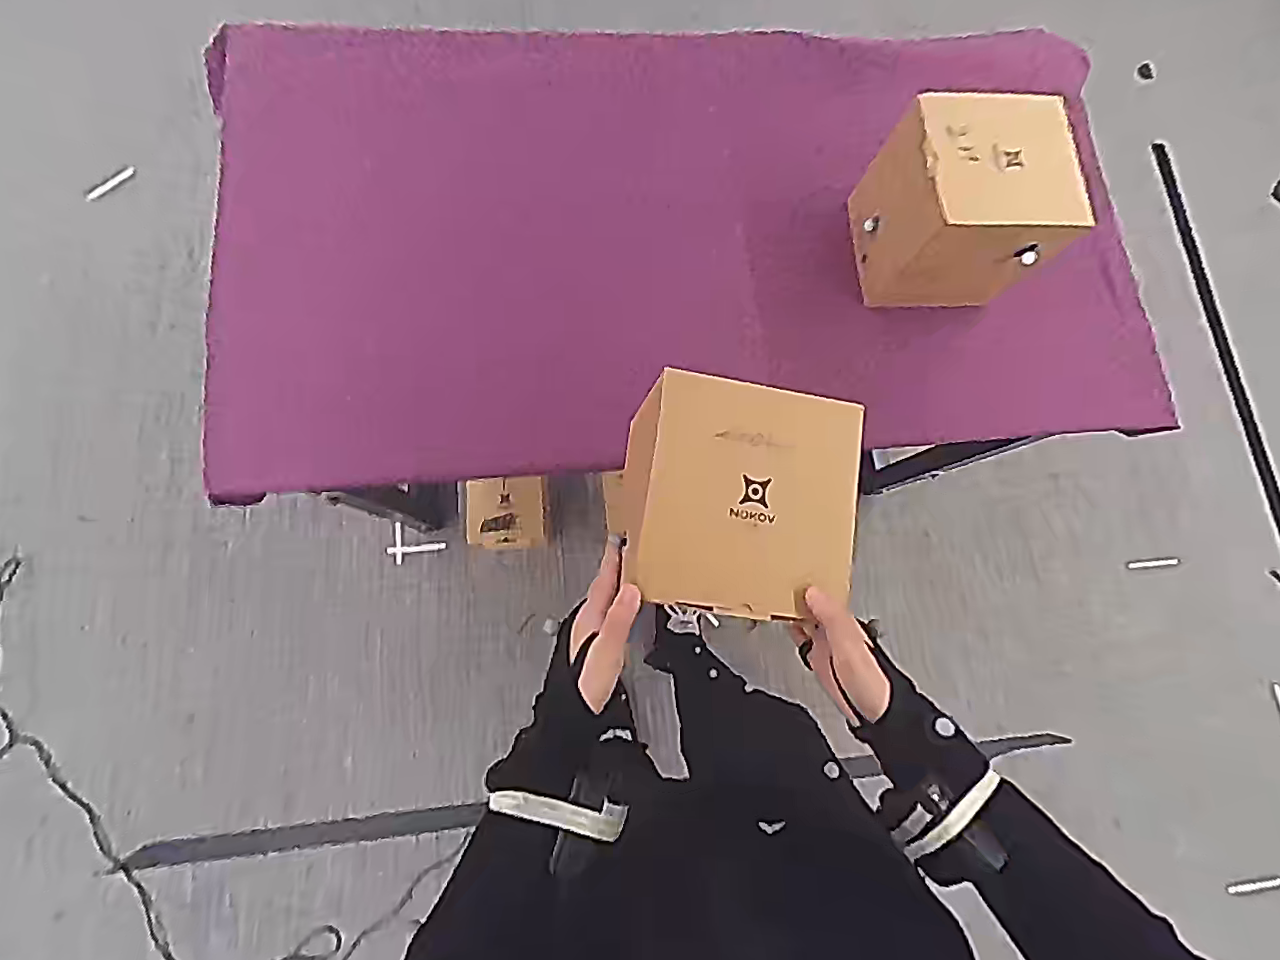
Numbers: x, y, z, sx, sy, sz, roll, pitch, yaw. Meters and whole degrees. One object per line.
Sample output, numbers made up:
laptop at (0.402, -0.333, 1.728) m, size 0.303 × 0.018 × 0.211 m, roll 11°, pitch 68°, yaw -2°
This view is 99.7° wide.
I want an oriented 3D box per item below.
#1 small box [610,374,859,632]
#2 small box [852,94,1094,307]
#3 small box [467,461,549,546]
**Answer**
small box at (0.070, 0.027, 0.482) m, size 0.168 × 0.176 × 0.179 m, roll 9°, pitch 80°, yaw -9°
small box at (0.388, -0.327, 0.661) m, size 0.179 × 0.176 × 0.168 m, roll -2°, pitch 78°, yaw -6°
small box at (-0.303, 0.062, 1.261) m, size 0.168 × 0.176 × 0.179 m, roll -3°, pitch 78°, yaw -7°
